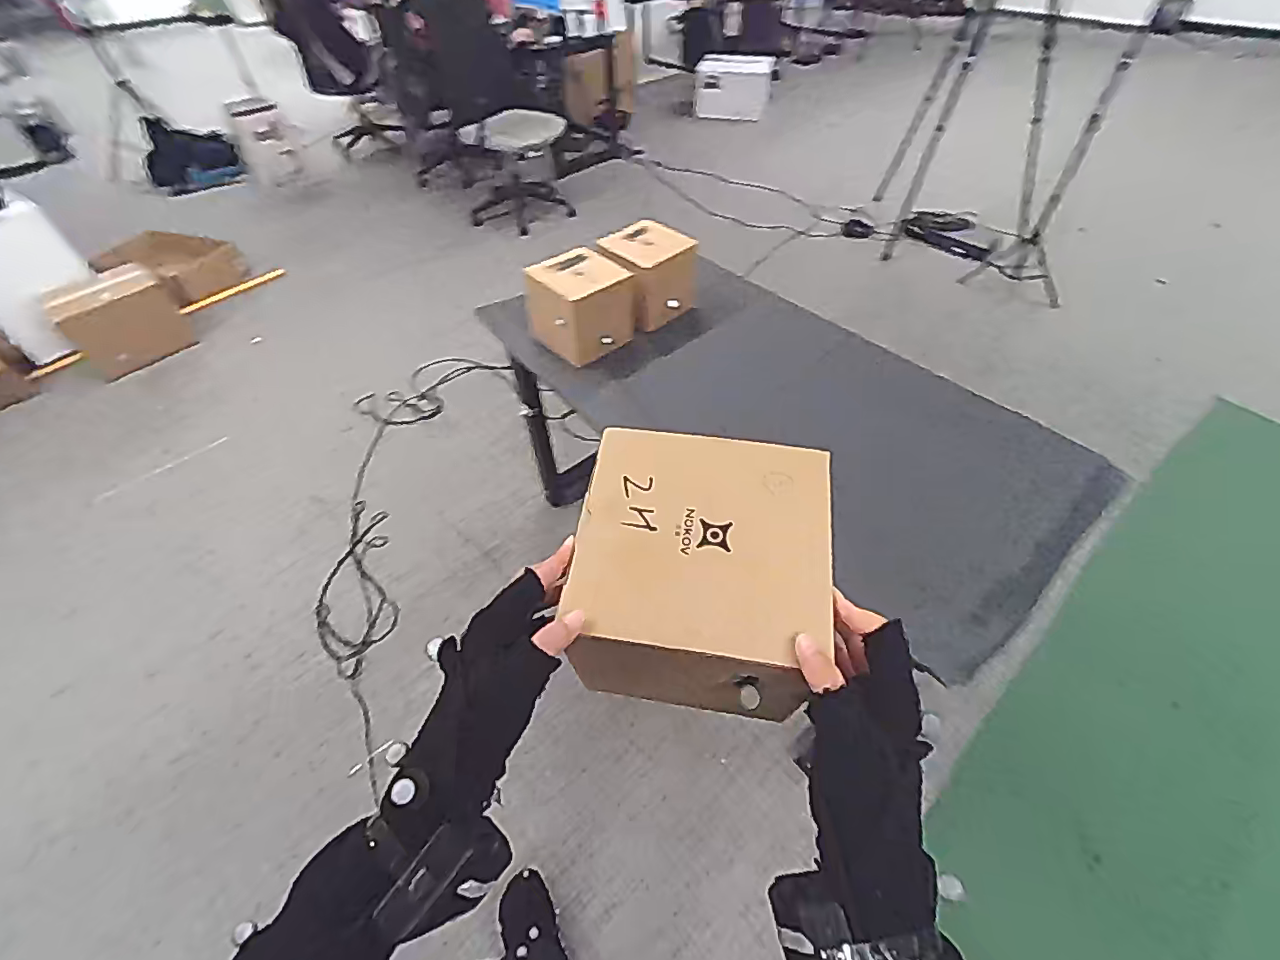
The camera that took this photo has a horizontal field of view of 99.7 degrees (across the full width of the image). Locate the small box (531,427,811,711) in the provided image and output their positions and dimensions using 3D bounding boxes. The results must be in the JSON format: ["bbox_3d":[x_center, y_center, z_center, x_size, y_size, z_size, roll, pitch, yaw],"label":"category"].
[{"bbox_3d":[0.032,0.079,0.441,0.179,0.176,0.168,6,57,7],"label":"small box"}]

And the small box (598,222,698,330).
[{"bbox_3d":[0.019,-0.490,1.303,0.168,0.176,0.179,-36,58,-26],"label":"small box"}]
